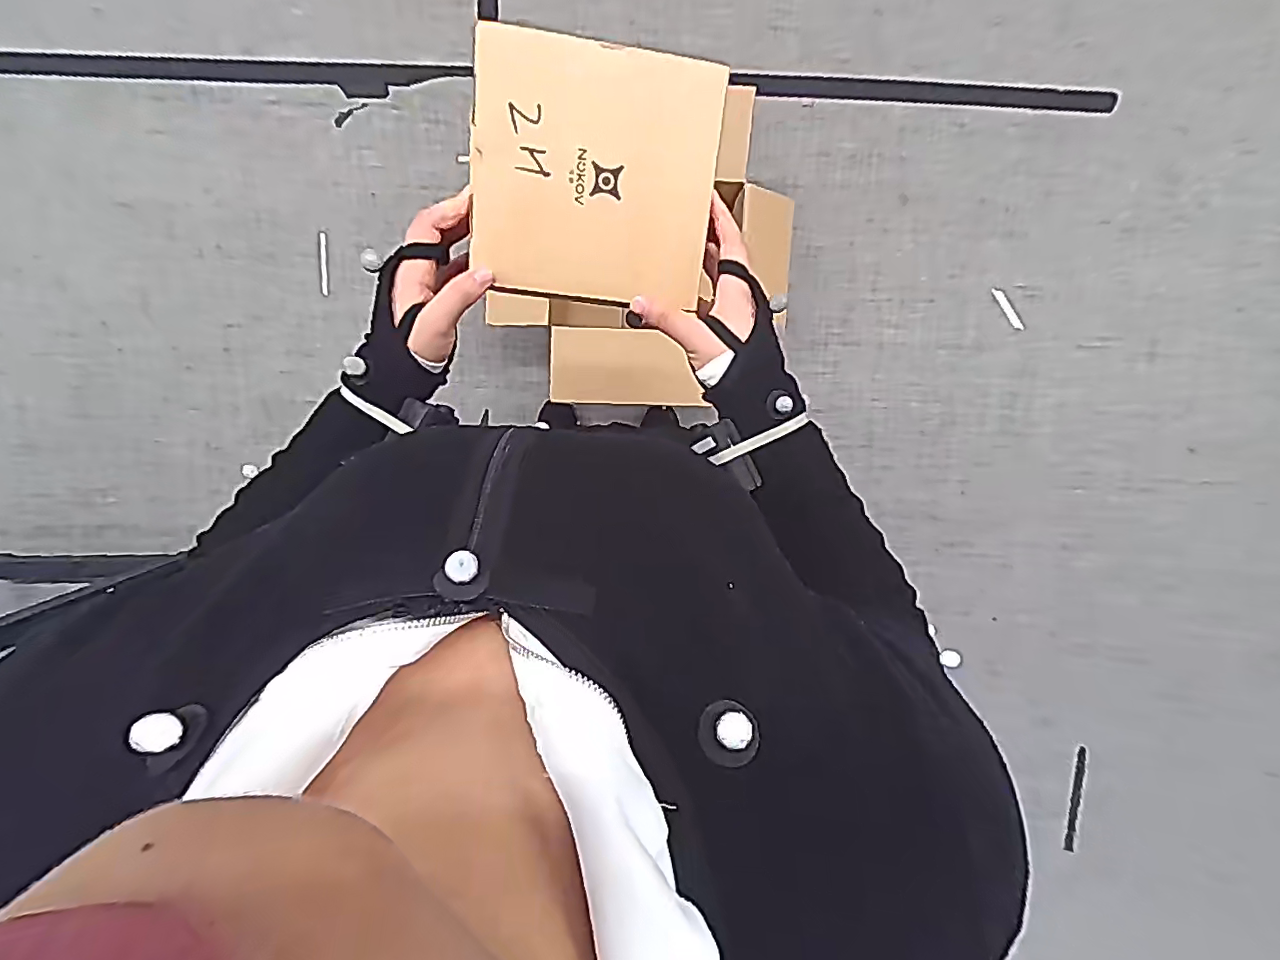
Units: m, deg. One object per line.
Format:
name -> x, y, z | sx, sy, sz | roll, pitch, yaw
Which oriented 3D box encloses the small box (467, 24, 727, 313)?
small box -> -0.041, -0.241, 0.466 | 0.179, 0.176, 0.168 | 5, 106, -7
